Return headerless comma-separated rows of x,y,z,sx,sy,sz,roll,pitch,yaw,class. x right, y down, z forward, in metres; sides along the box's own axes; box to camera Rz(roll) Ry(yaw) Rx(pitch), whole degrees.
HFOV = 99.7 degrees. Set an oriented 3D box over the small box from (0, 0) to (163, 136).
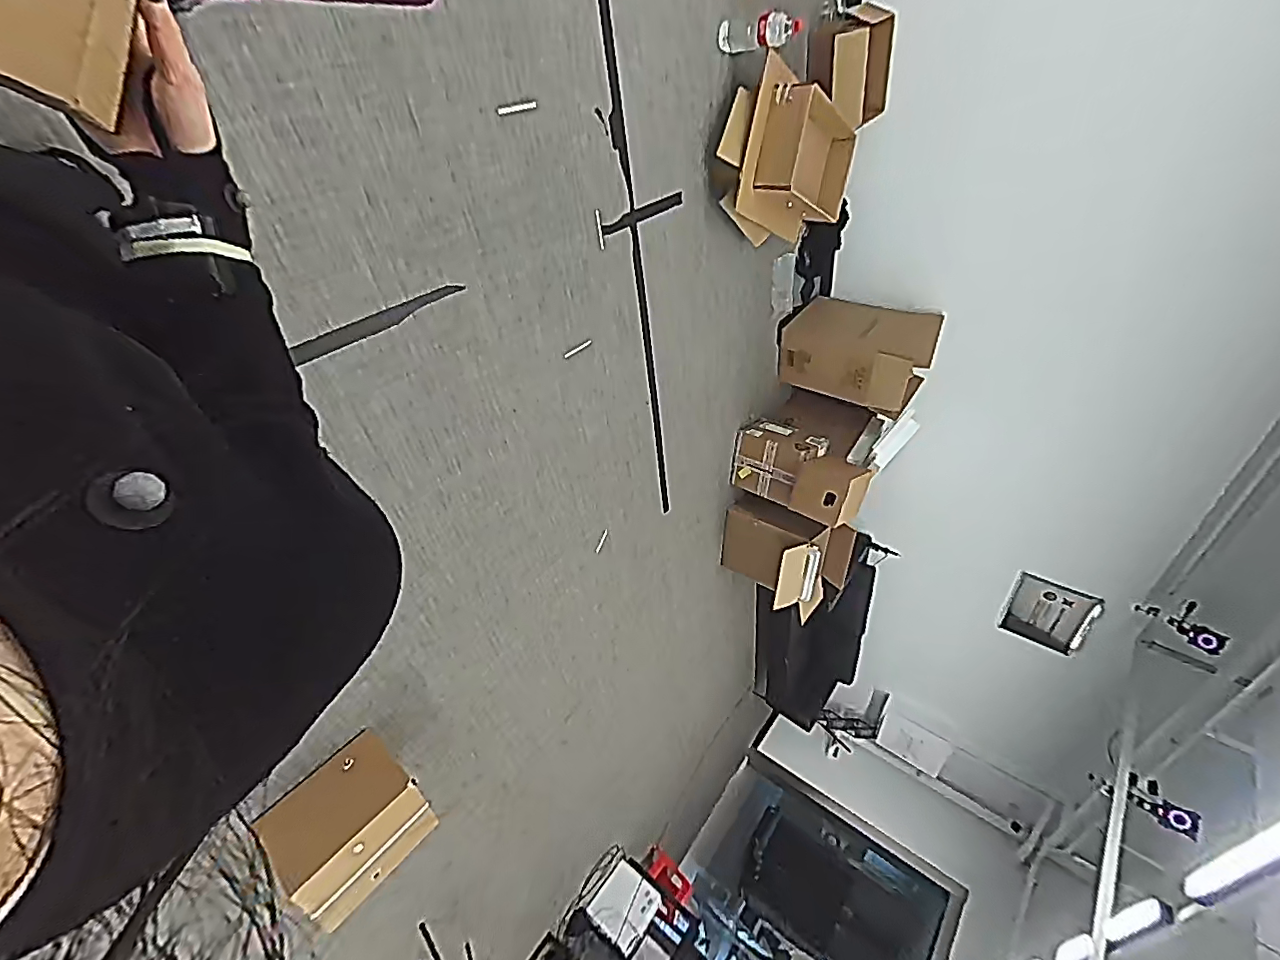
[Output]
-0.338,-0.296,0.252,0.168,0.176,0.179,12,104,-42,small box
